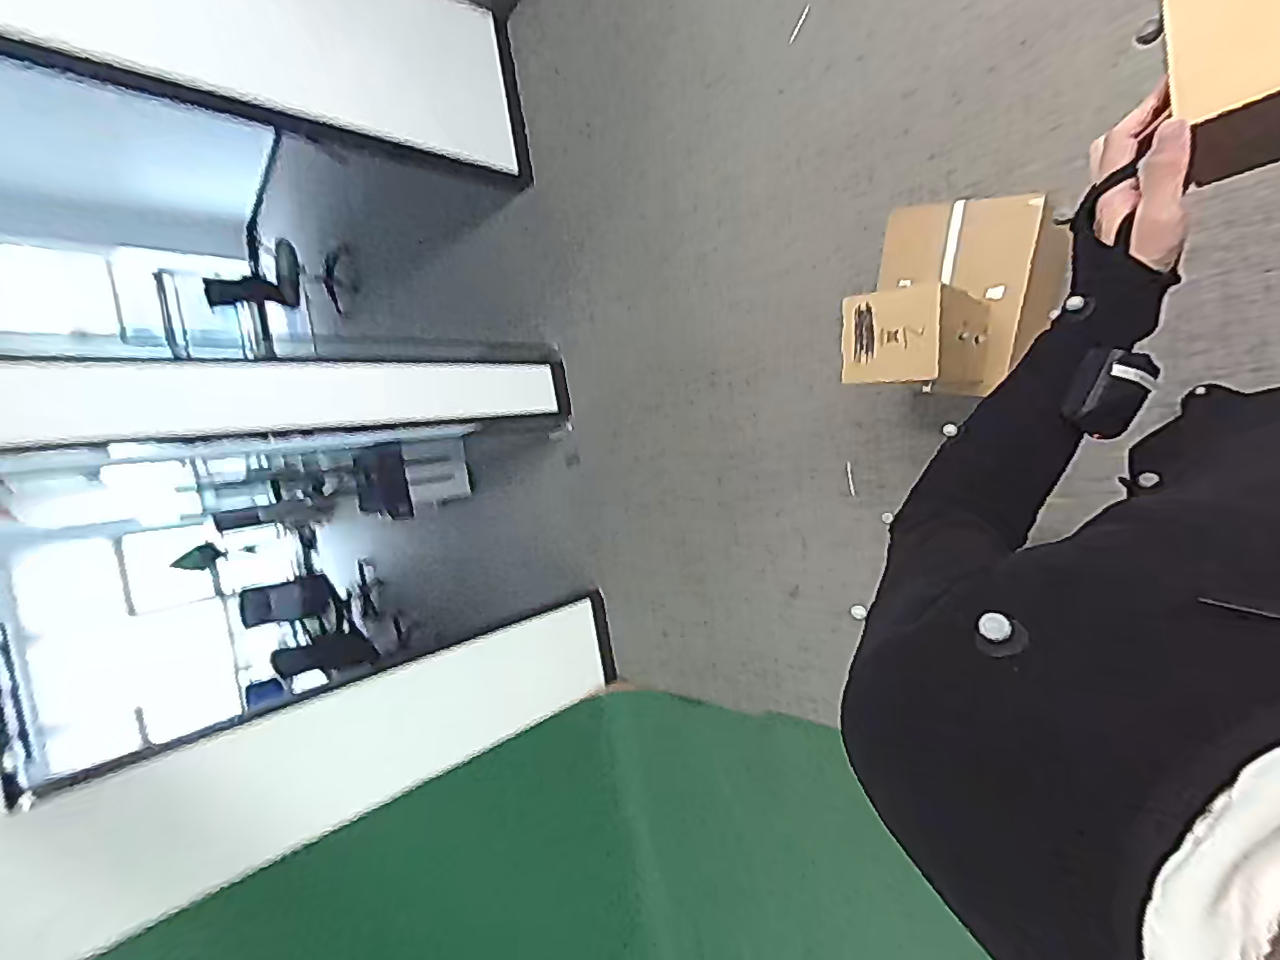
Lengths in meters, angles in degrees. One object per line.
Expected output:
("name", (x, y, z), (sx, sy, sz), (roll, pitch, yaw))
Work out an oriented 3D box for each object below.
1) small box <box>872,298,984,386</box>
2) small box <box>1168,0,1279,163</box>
("small box", (0.620, -0.289, 1.161), (0.179, 0.176, 0.168), (6, 101, 45))
("small box", (0.483, -0.346, 0.366), (0.168, 0.176, 0.179), (-4, 91, 50))
